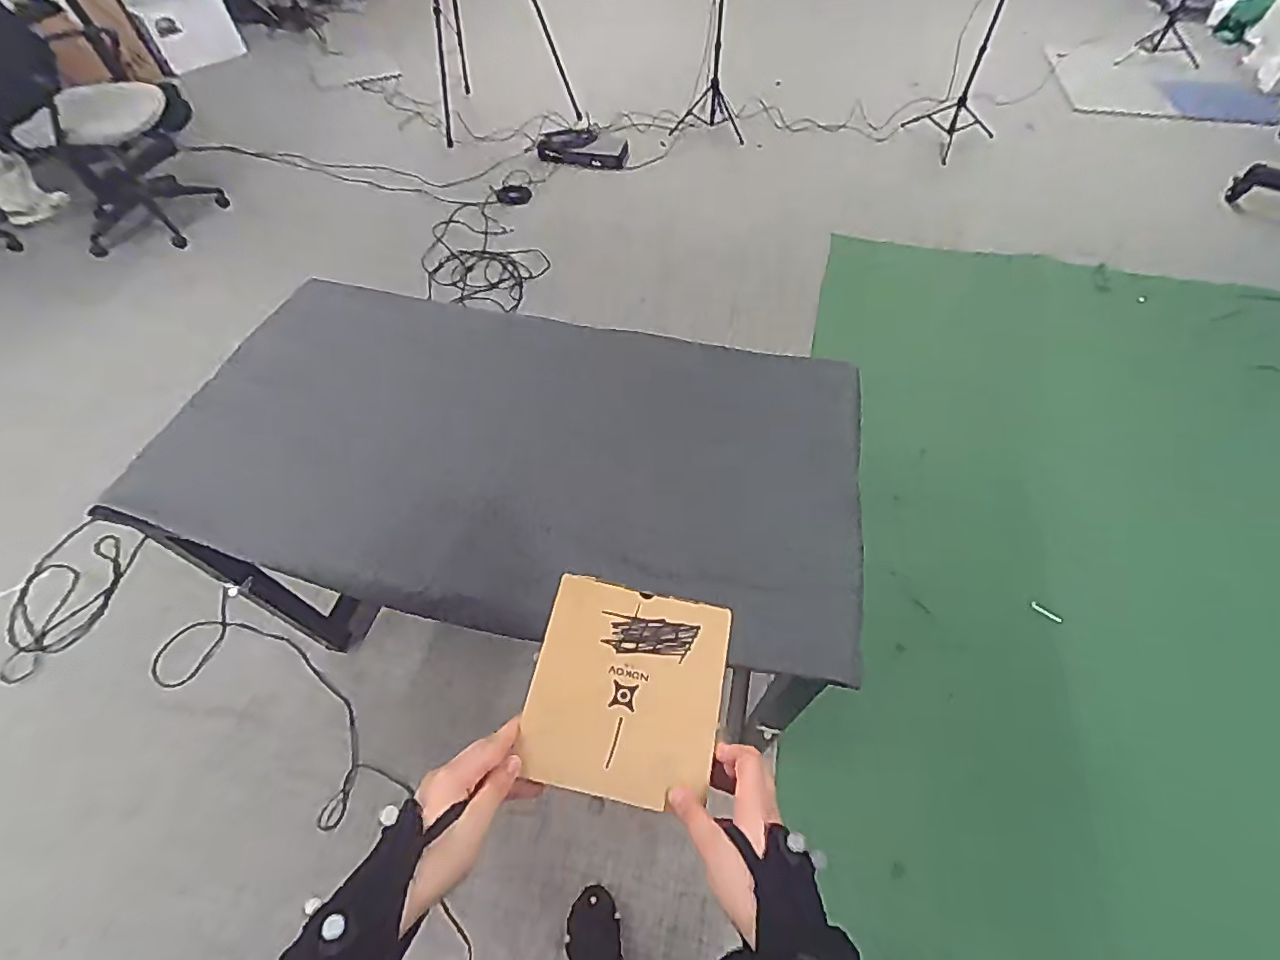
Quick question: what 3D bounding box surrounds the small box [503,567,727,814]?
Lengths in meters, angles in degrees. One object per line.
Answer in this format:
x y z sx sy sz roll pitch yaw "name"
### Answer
-0.019 0.211 0.540 0.168 0.176 0.179 11 62 4 "small box"
